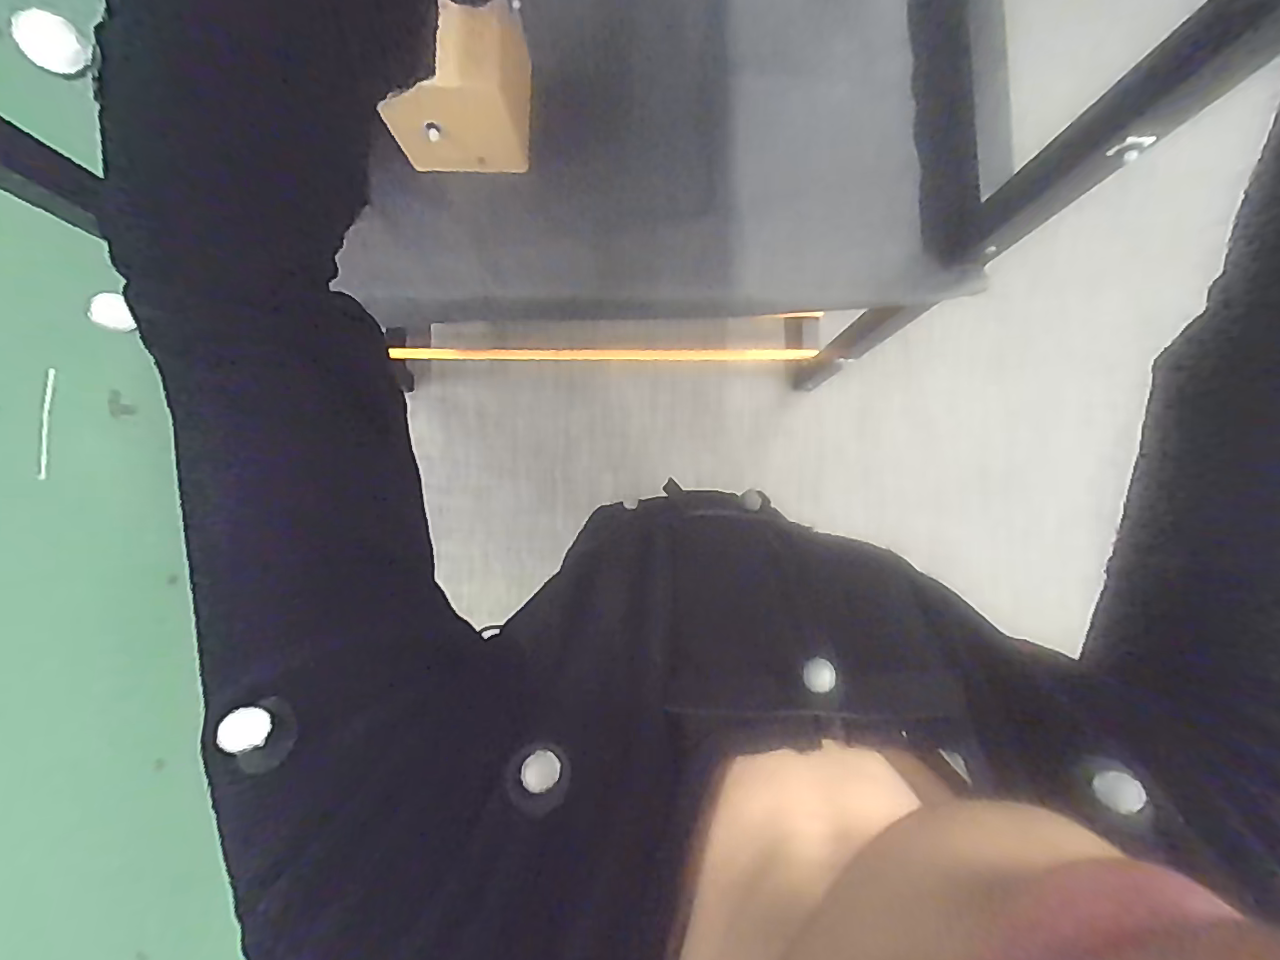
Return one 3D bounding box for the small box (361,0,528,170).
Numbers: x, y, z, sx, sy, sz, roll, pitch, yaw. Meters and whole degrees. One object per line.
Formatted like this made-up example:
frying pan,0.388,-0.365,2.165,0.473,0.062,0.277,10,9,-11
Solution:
small box,-0.248,-0.545,0.725,0.168,0.176,0.179,1,86,0
